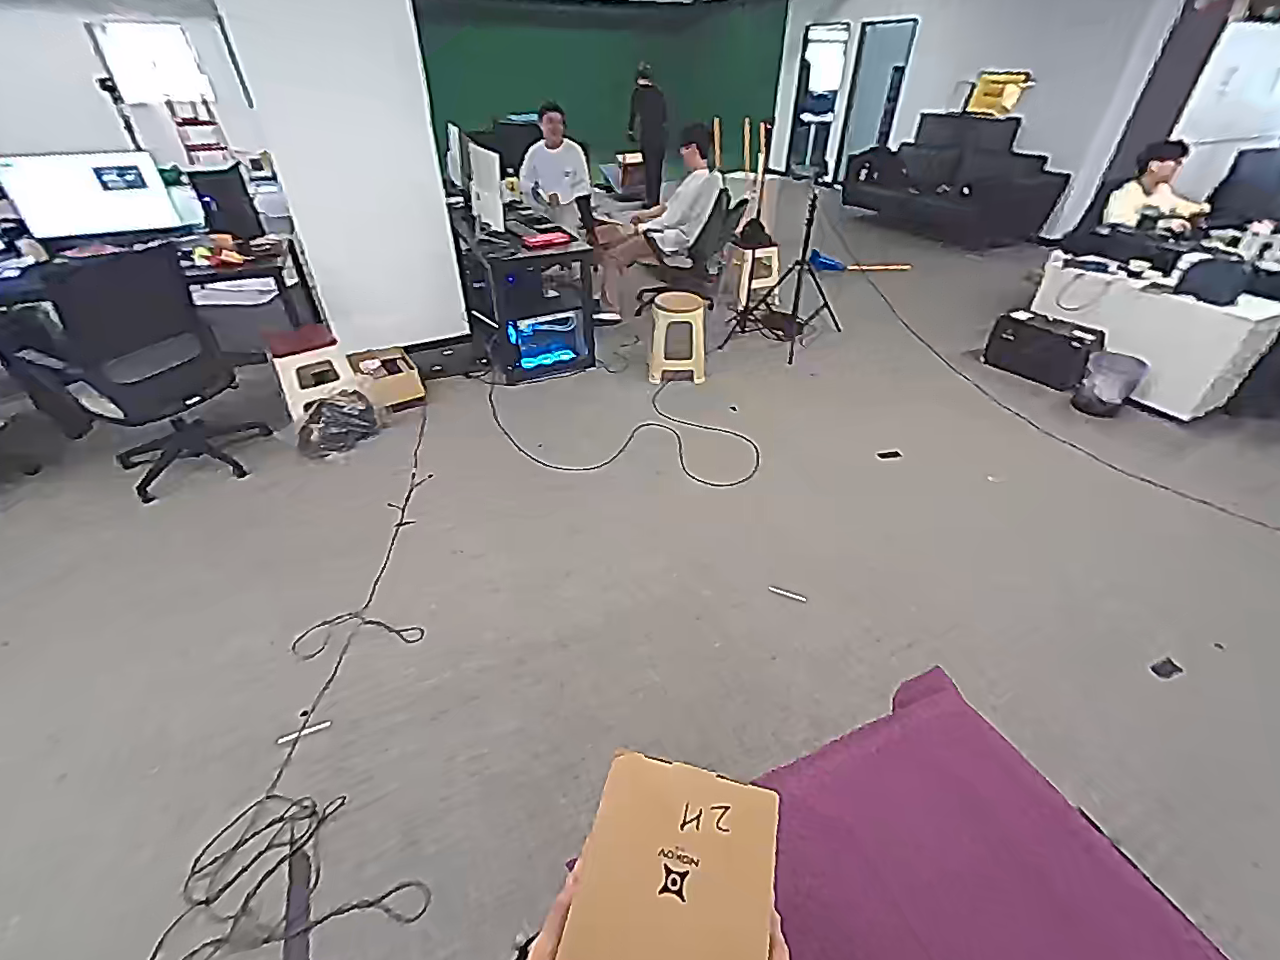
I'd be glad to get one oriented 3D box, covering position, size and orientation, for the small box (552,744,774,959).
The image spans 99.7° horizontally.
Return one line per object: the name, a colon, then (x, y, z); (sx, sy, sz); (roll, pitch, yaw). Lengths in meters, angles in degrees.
small box: (0.029, 0.396, 0.526); (0.168, 0.176, 0.179); (10, 43, 10)
